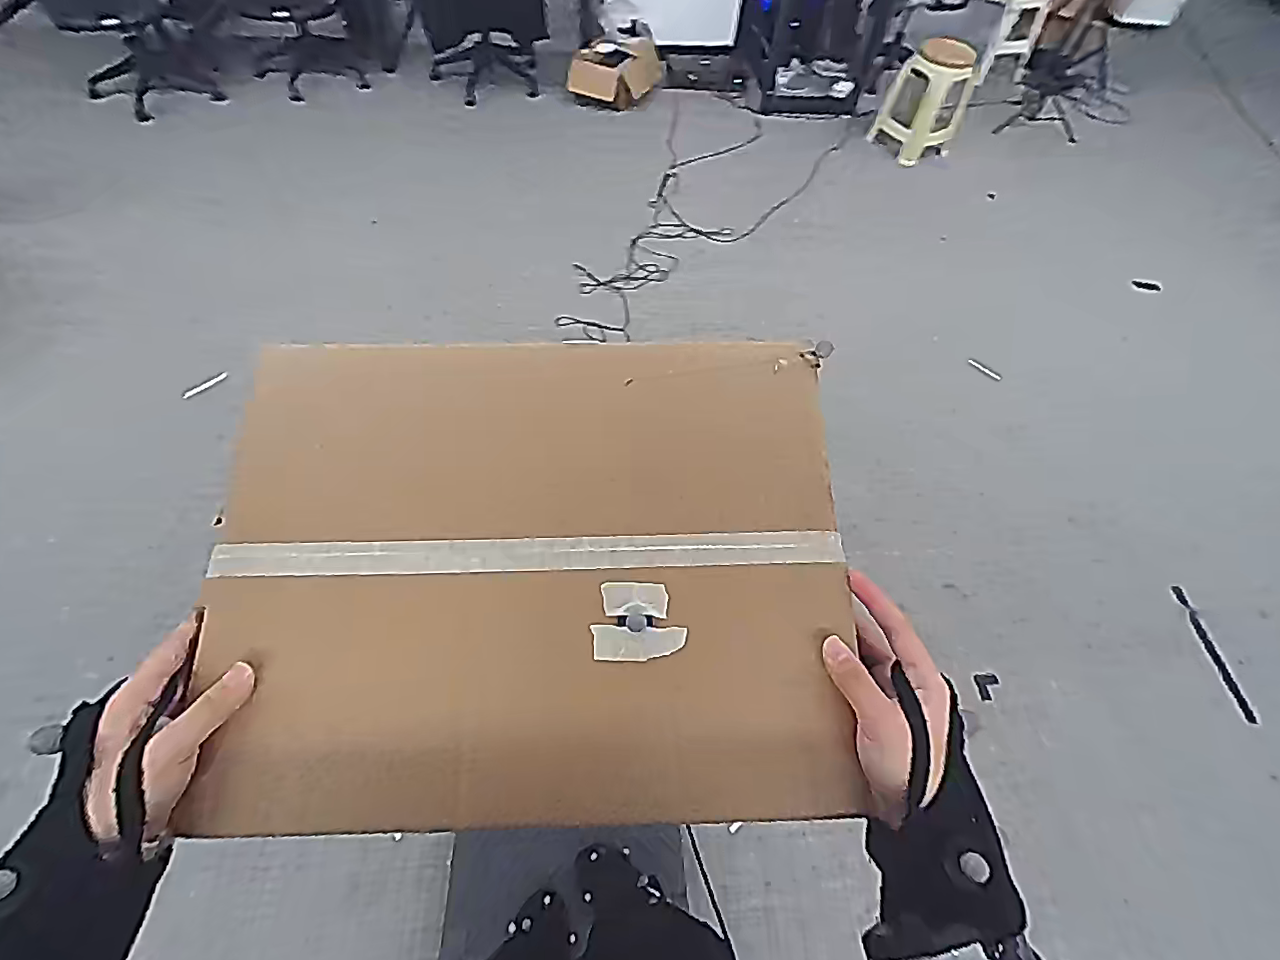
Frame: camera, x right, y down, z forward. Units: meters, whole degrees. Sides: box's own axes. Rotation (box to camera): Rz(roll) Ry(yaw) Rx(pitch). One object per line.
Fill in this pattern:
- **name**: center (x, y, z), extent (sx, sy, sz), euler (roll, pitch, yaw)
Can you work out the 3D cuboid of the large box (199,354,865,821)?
- **large box**: center (-0.068, 0.096, 0.507), extent (0.408, 0.320, 0.320), euler (0, 73, -1)
